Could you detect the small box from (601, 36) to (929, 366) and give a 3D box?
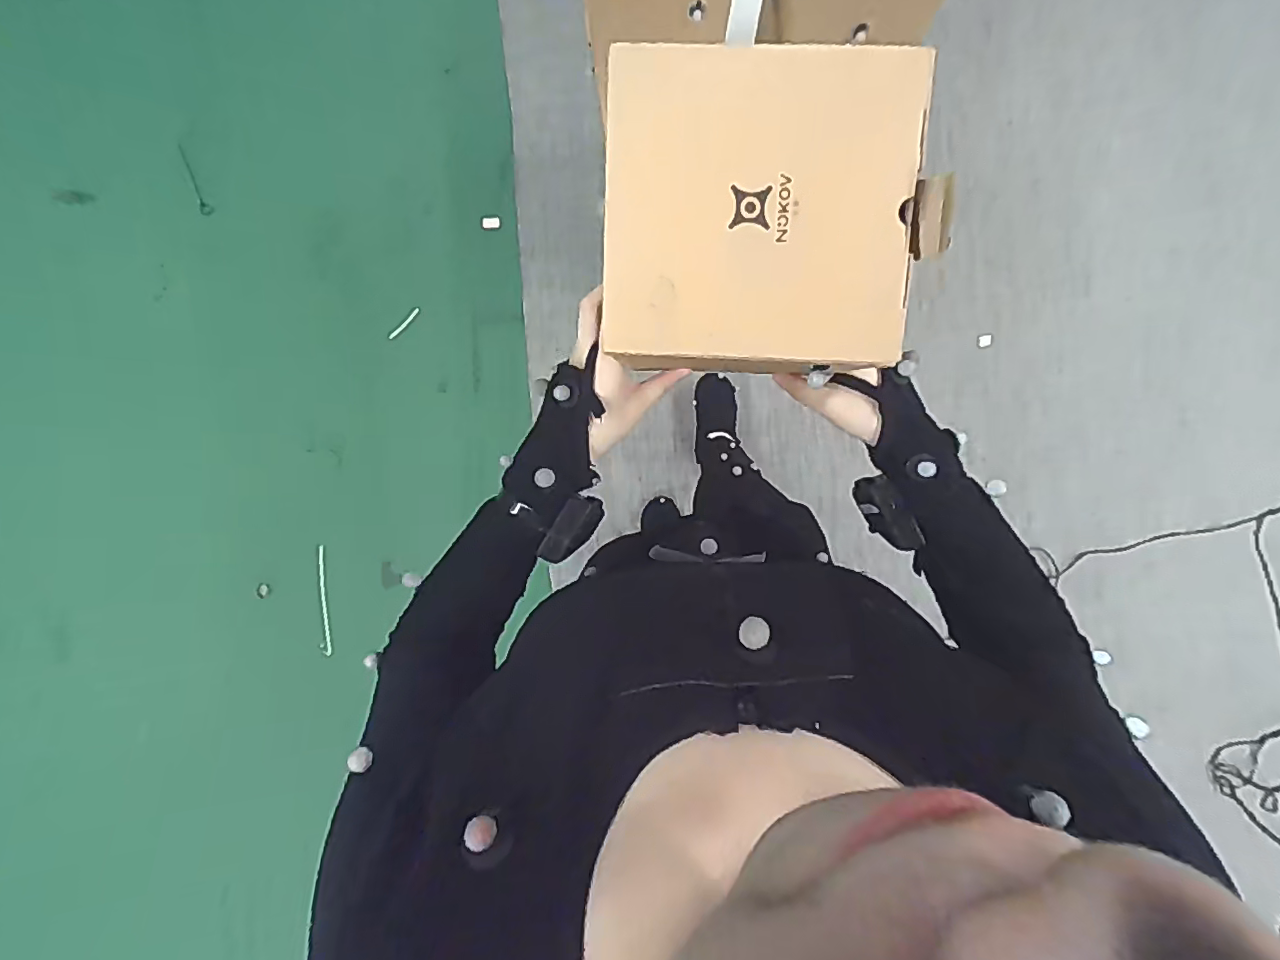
[{"bbox_3d":[0.070,-0.170,0.384,0.179,0.176,0.168,2,99,2],"label":"small box"}]

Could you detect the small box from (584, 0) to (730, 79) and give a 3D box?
[{"bbox_3d":[0.014,-0.634,0.655,0.179,0.176,0.168,-9,90,1],"label":"small box"}]

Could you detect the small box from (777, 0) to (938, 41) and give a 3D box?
[{"bbox_3d":[0.263,-0.623,0.645,0.168,0.176,0.179,-4,90,3],"label":"small box"}]
